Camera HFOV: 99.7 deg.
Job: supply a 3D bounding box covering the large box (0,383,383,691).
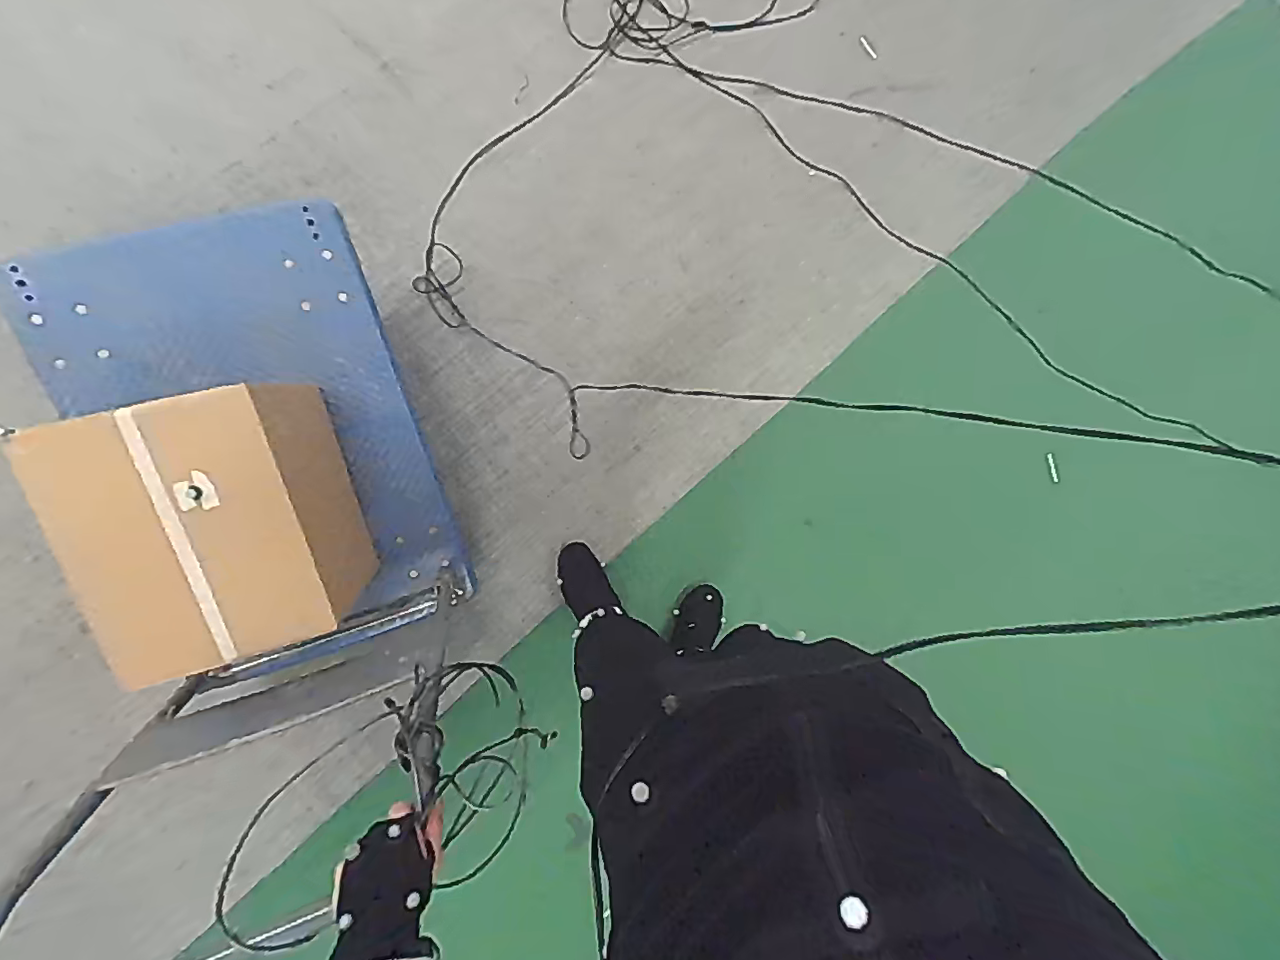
[{"bbox_3d":[-0.696,0.067,0.931,0.320,0.320,0.408,-16,102,-11],"label":"large box"}]
